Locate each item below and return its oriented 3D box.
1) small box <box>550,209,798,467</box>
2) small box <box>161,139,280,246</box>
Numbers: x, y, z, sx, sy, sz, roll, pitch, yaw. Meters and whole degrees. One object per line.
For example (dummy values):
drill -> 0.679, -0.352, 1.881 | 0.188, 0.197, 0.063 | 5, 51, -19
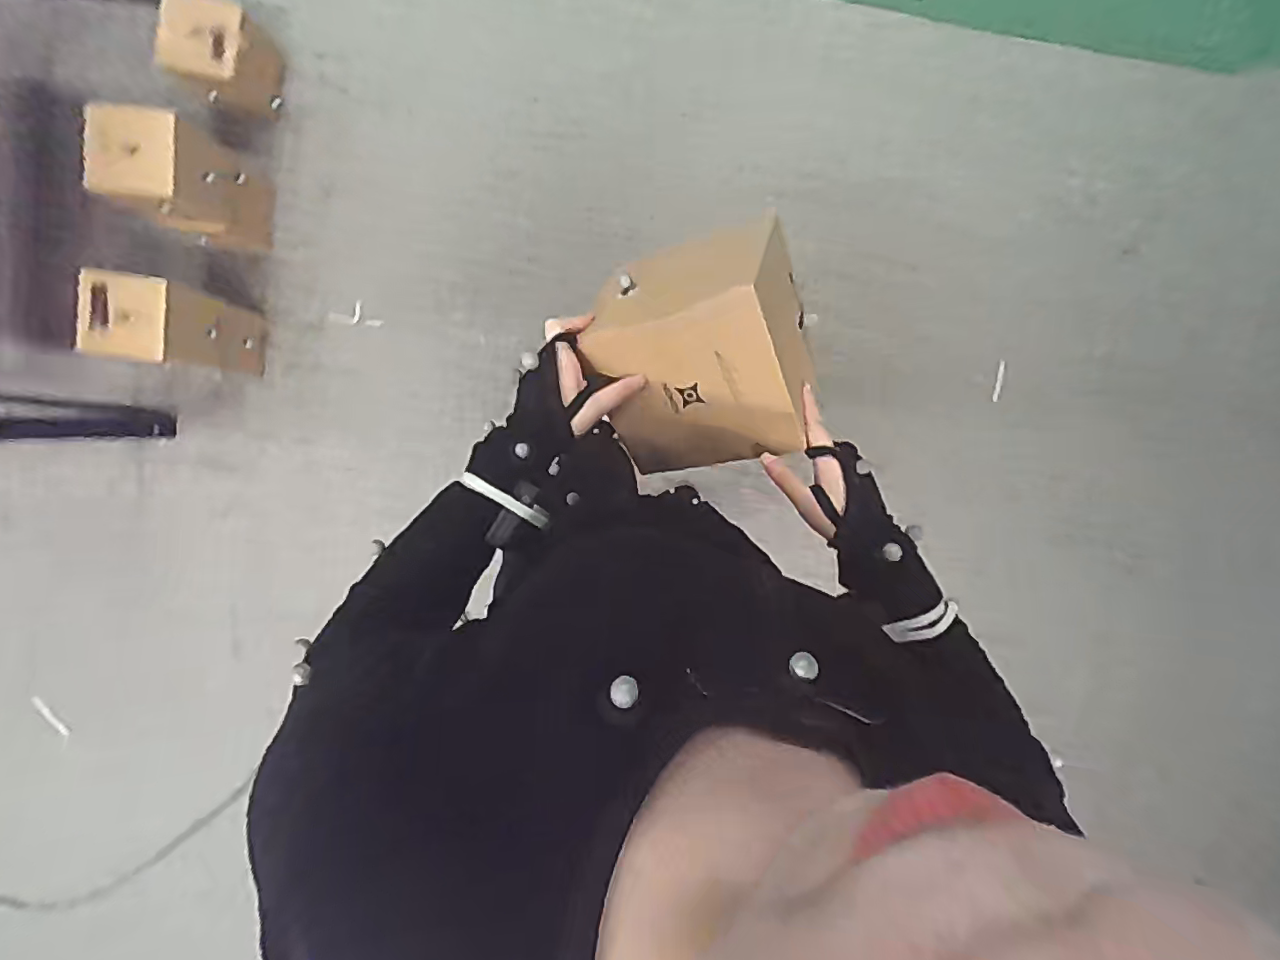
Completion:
small box -> 0.047, -0.137, 0.541 | 0.179, 0.176, 0.168 | -9, 130, 29
small box -> -1.025, -0.698, 1.334 | 0.168, 0.176, 0.179 | 8, 95, -2
